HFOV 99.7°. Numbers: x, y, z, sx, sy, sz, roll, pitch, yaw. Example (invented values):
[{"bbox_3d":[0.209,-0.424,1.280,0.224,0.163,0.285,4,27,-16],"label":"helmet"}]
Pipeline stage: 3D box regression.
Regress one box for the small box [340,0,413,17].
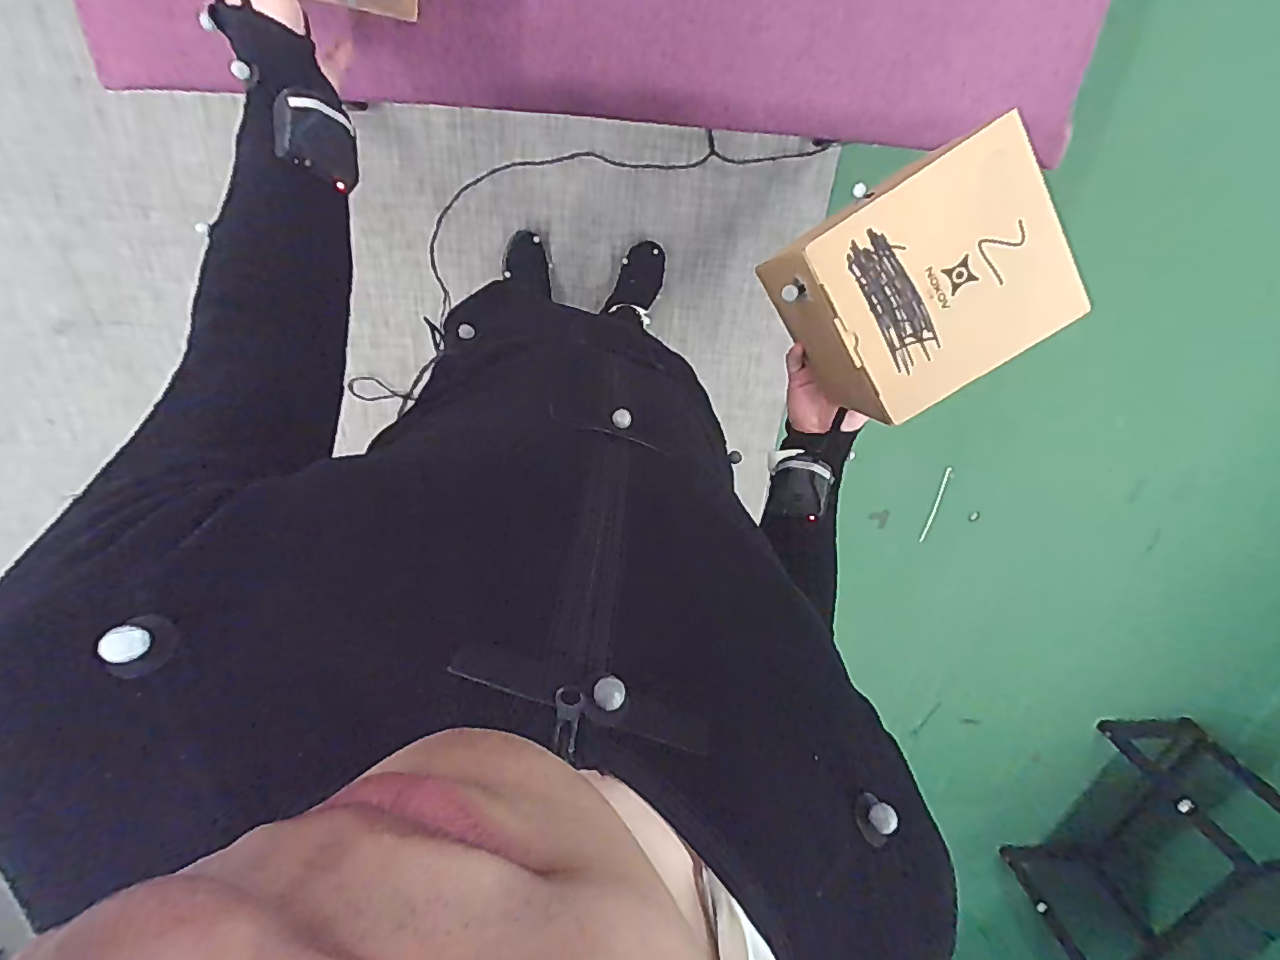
[{"bbox_3d":[-0.311,-0.570,0.495,0.168,0.176,0.179,6,115,-12],"label":"small box"}]
